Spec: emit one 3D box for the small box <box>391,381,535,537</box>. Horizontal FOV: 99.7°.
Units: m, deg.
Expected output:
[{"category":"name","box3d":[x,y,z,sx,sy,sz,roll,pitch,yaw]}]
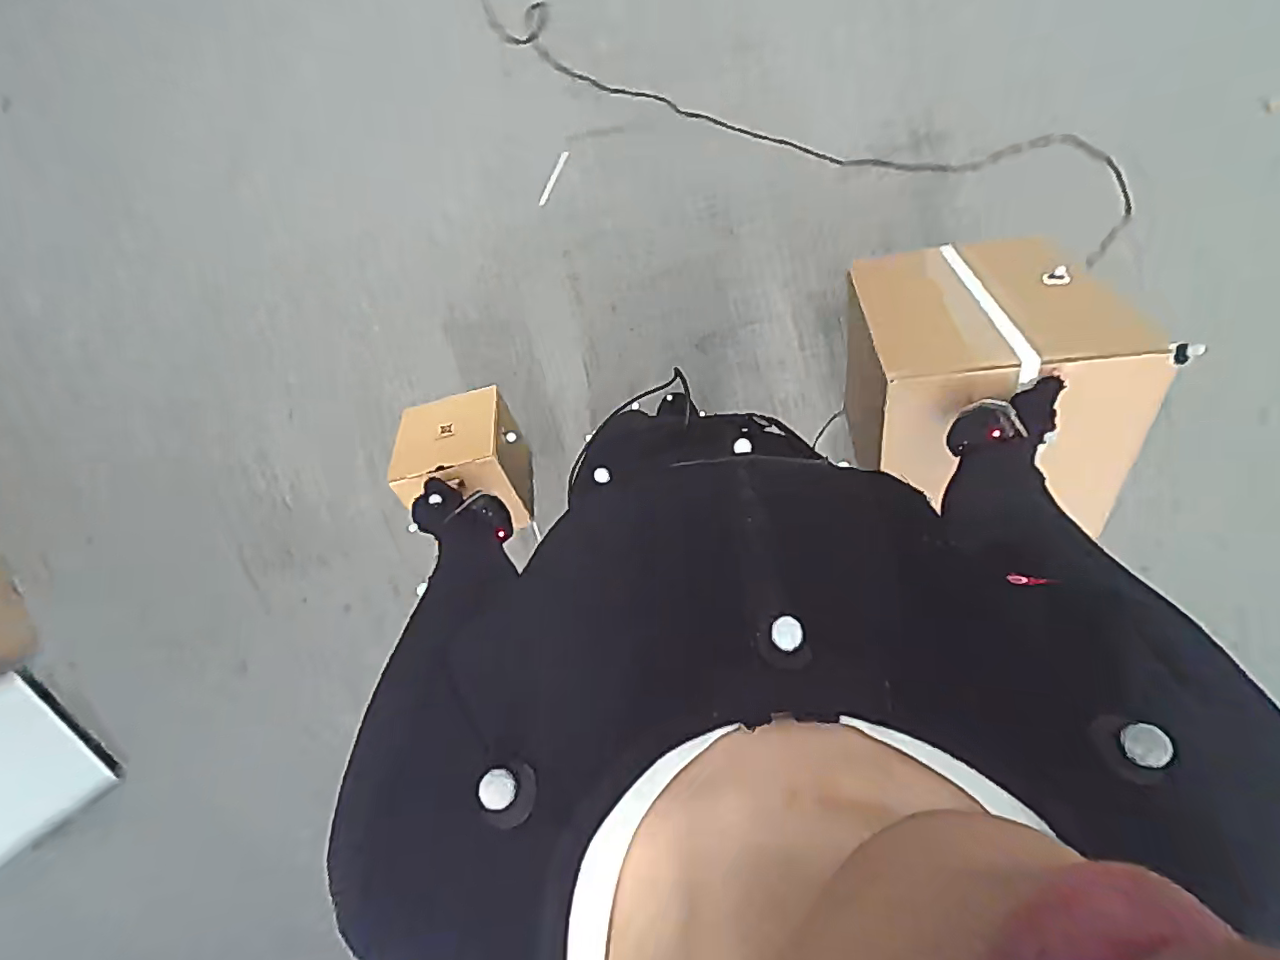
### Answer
[{"category":"small box","box3d":[-0.282,-0.033,0.904,0.168,0.179,0.176,-14,137,4]}]
